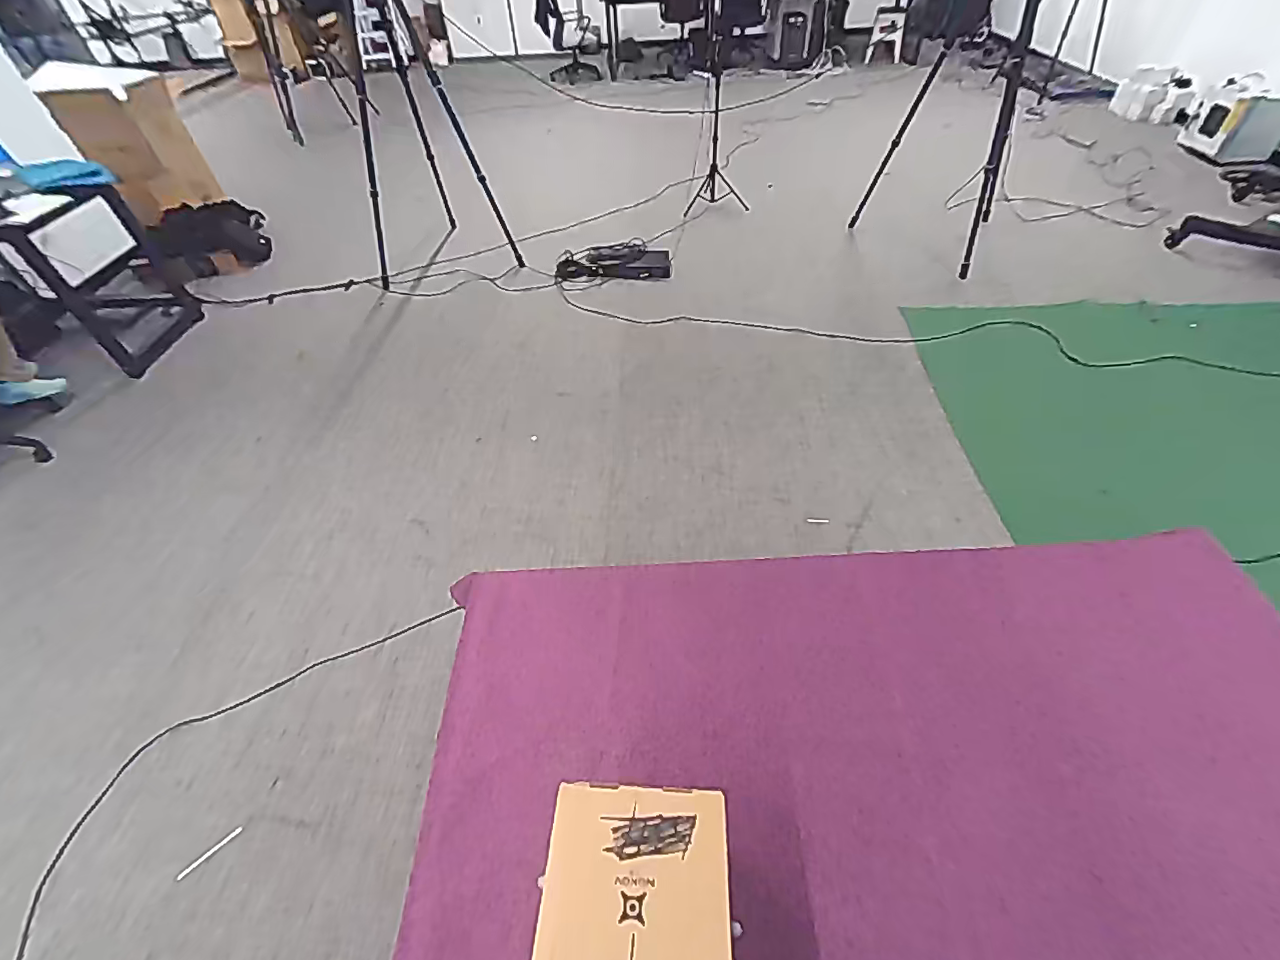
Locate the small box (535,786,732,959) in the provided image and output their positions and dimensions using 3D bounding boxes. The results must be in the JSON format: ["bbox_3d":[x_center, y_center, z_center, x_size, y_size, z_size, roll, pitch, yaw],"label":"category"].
[{"bbox_3d":[0.000,0.427,0.528,0.168,0.176,0.179,0,44,5],"label":"small box"}]
